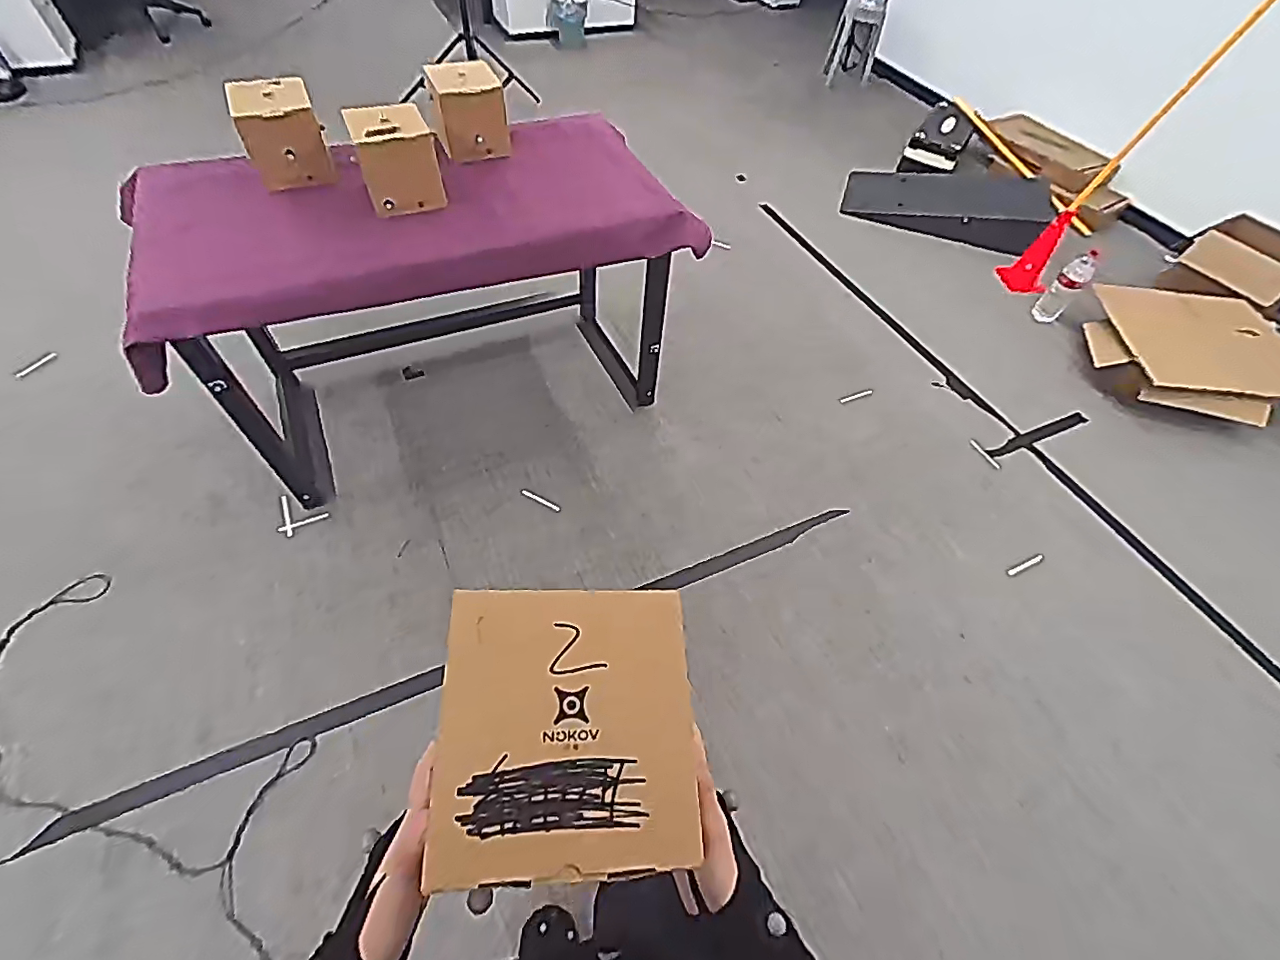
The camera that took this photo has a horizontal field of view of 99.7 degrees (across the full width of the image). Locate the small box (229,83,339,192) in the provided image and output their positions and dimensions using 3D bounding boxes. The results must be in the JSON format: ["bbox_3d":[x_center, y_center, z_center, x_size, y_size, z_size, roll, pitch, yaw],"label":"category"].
[{"bbox_3d":[-0.856,-0.823,1.312,0.168,0.176,0.179,-20,61,-18],"label":"small box"}]

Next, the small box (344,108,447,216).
[{"bbox_3d":[-0.574,-0.748,1.284,0.168,0.176,0.179,-19,58,-17],"label":"small box"}]

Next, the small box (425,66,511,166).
[{"bbox_3d":[-0.459,-0.977,1.453,0.168,0.176,0.179,-20,60,-17],"label":"small box"}]
